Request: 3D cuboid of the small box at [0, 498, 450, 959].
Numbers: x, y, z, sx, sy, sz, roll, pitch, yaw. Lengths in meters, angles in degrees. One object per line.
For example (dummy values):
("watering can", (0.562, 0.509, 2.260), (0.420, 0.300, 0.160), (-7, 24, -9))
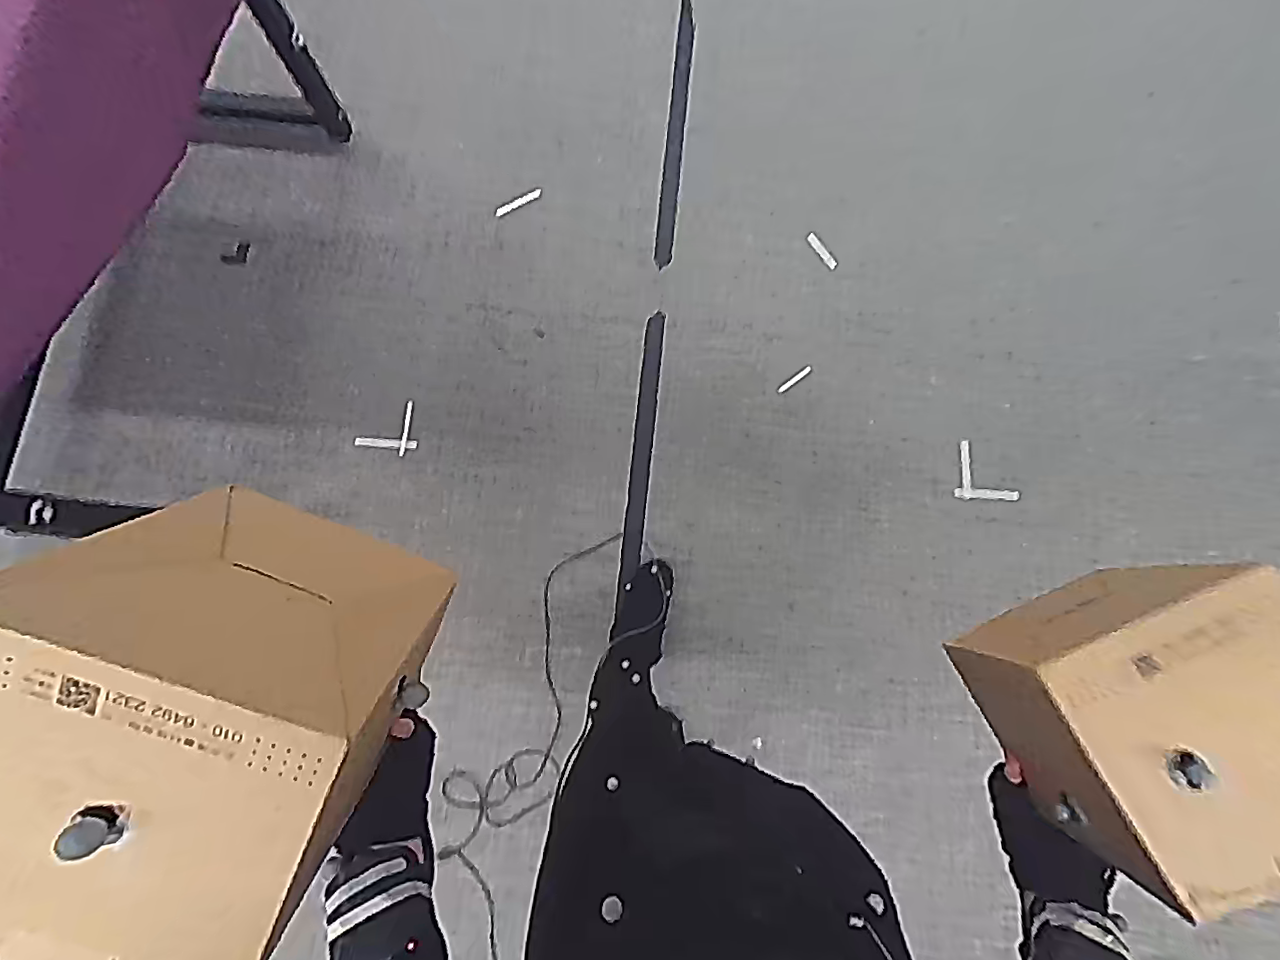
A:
("small box", (-0.233, 0.125, 0.309), (0.168, 0.179, 0.176), (24, 100, -8))
